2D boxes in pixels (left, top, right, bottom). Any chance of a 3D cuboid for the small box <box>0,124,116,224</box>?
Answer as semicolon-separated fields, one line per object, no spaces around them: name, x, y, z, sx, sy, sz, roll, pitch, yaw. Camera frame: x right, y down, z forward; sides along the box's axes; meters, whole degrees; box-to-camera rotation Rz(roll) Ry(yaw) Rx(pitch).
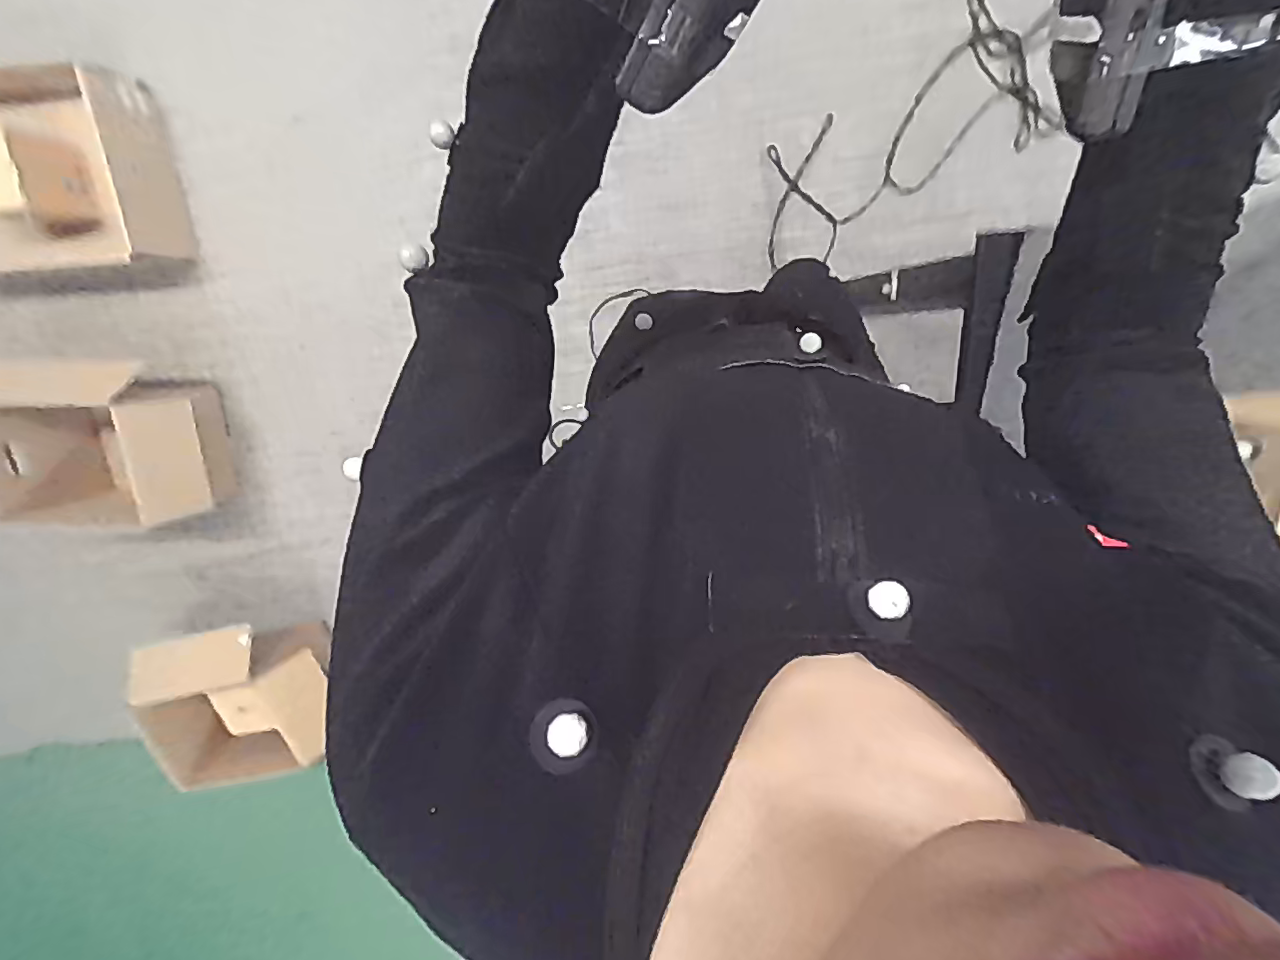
small box;-1.408;-0.708;1.268;0.179;0.176;0.168;-1;106;6
